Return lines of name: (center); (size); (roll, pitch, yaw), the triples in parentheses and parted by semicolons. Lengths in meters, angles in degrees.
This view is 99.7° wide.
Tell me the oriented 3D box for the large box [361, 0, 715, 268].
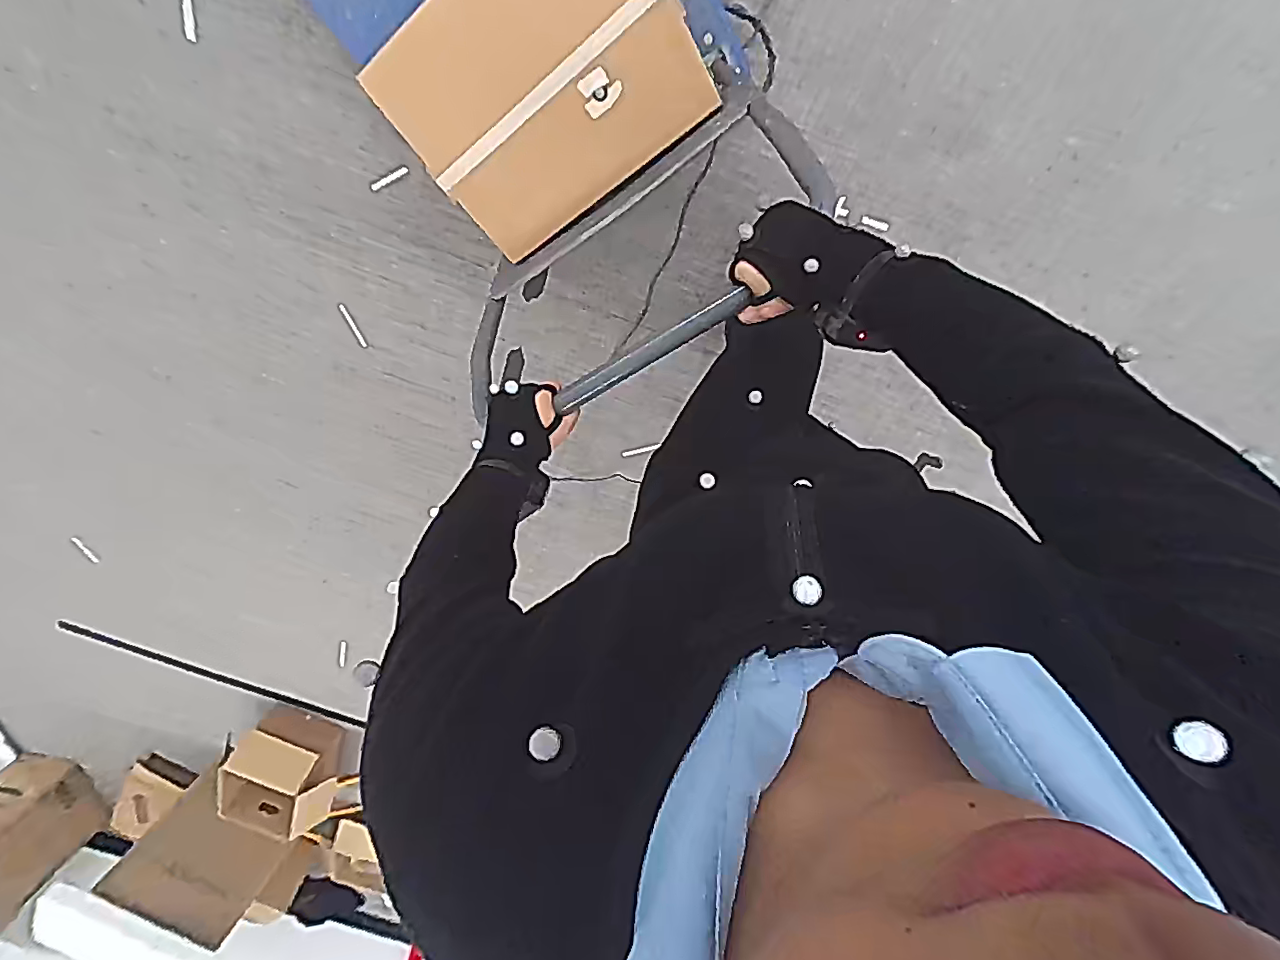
large box: (-0.143, -0.630, 0.859); (0.408, 0.320, 0.320); (-29, 127, 22)
